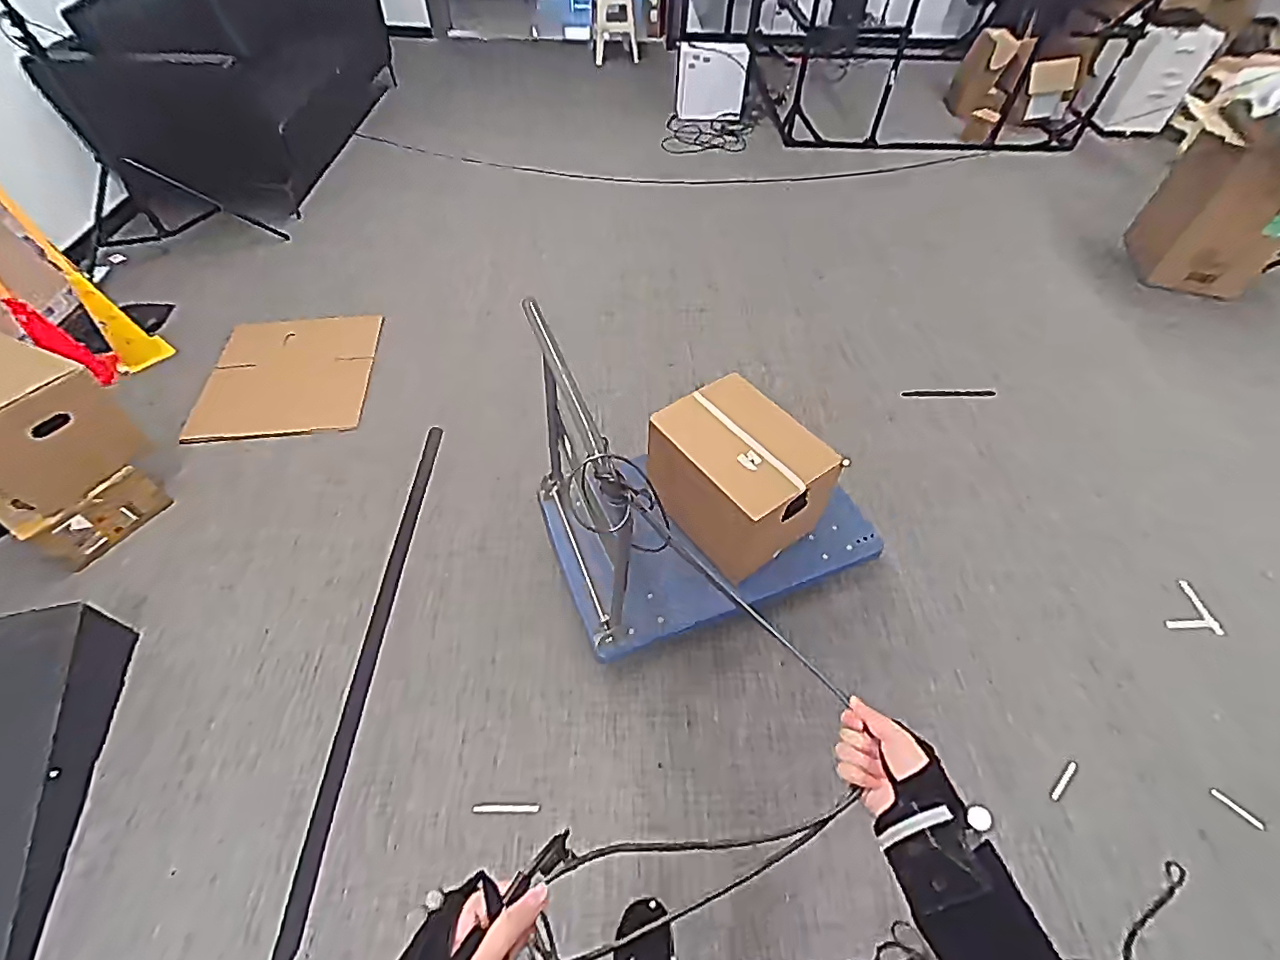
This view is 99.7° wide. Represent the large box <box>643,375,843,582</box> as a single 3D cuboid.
[{"bbox_3d":[0.252,-0.008,1.468,0.320,0.320,0.408,-30,60,-22],"label":"large box"}]
